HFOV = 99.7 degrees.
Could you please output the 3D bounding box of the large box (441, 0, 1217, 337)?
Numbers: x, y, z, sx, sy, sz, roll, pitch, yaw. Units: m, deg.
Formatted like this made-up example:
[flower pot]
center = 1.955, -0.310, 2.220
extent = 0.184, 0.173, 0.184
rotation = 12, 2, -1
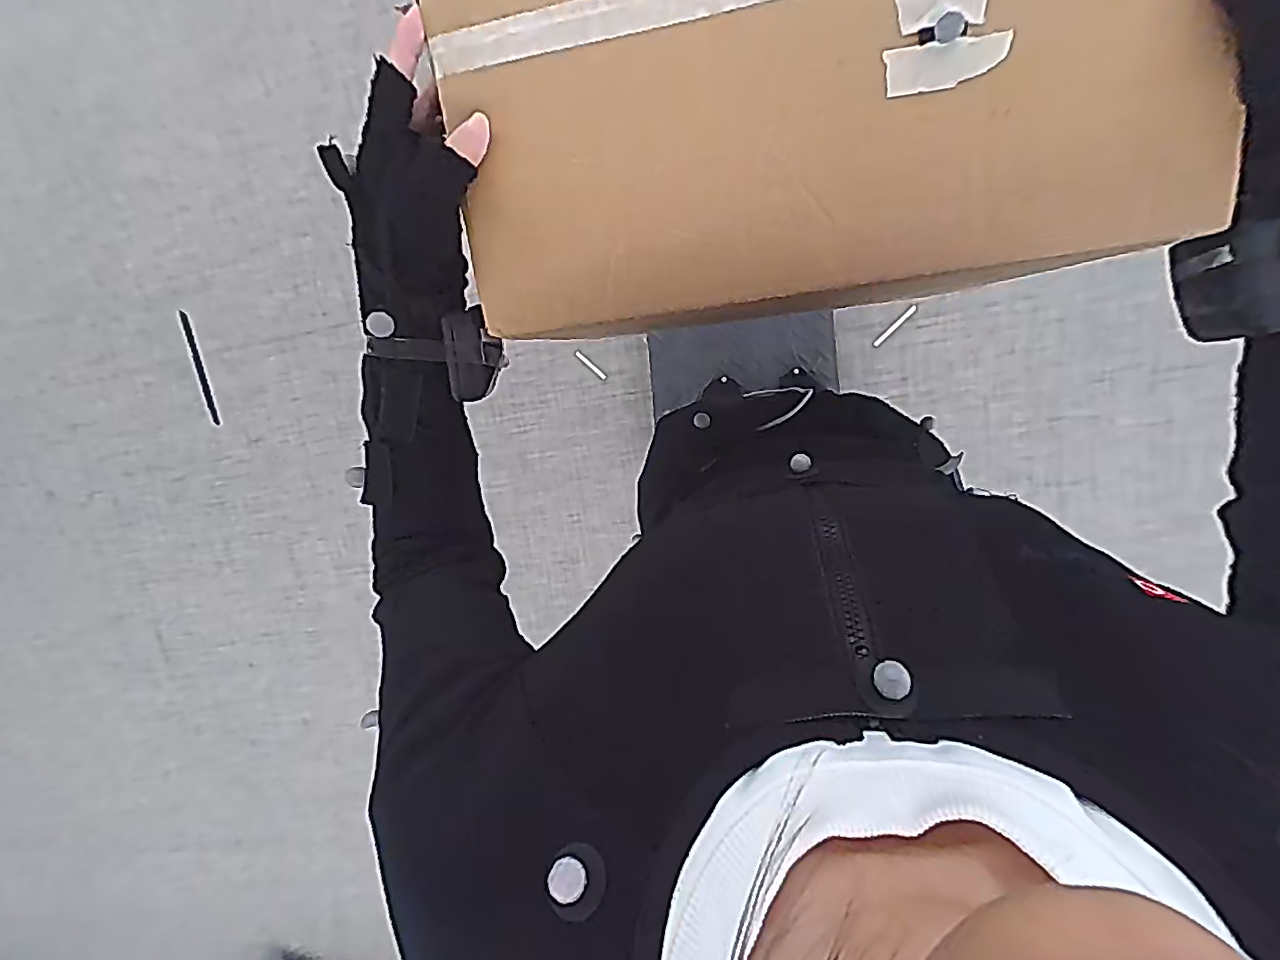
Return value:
[large box]
center = 0.101, -0.303, 0.431
extent = 0.408, 0.320, 0.320
rotation = -6, 104, 9
